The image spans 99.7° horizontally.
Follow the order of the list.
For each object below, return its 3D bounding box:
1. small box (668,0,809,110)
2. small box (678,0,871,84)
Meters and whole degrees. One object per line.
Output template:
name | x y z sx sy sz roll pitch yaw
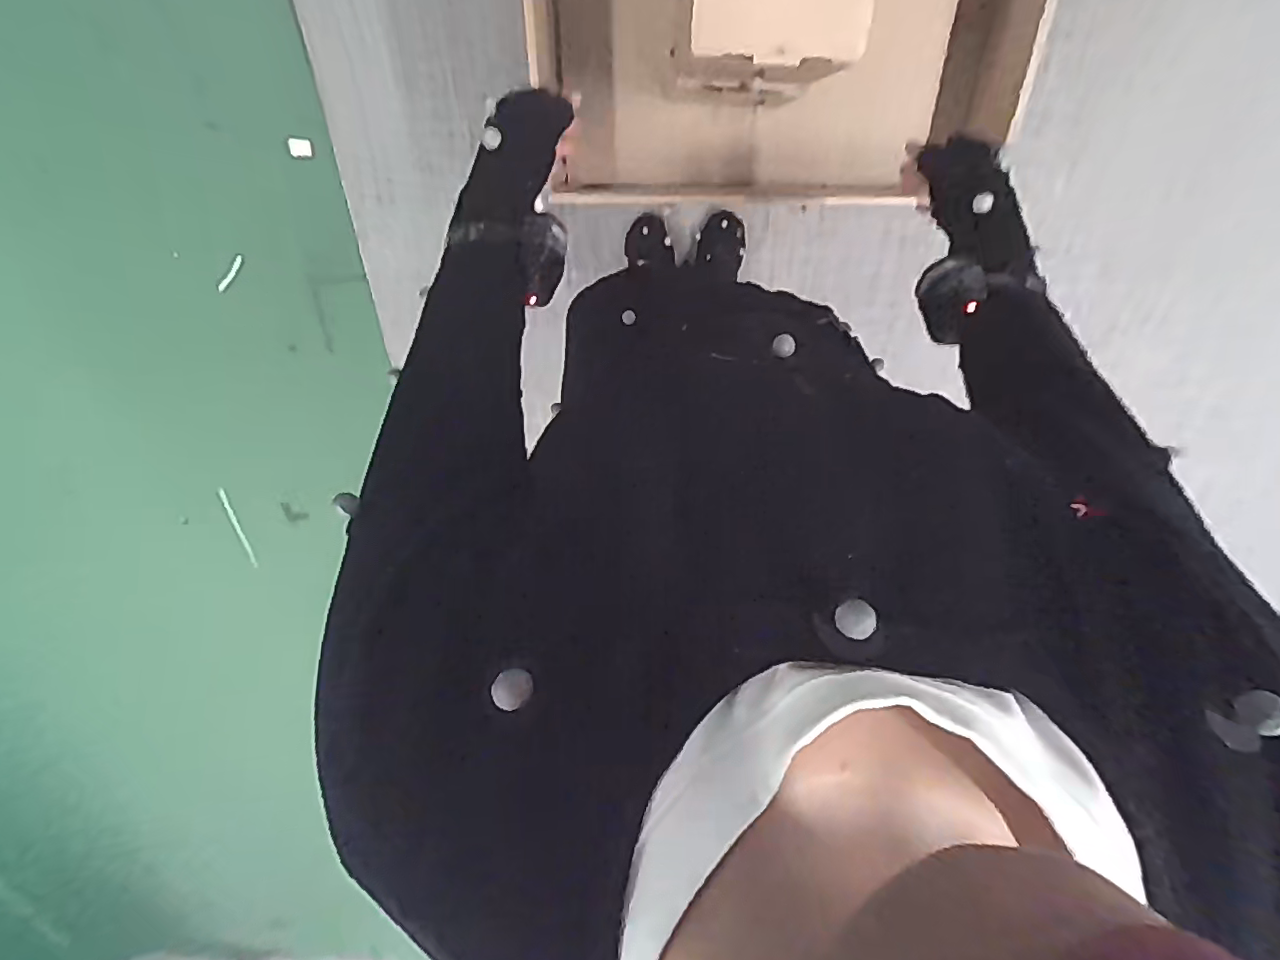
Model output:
small box | 0.126 -0.581 0.680 0.168 0.176 0.179 2 118 -2
small box | 0.129 -0.508 0.533 0.168 0.176 0.179 2 121 -2
